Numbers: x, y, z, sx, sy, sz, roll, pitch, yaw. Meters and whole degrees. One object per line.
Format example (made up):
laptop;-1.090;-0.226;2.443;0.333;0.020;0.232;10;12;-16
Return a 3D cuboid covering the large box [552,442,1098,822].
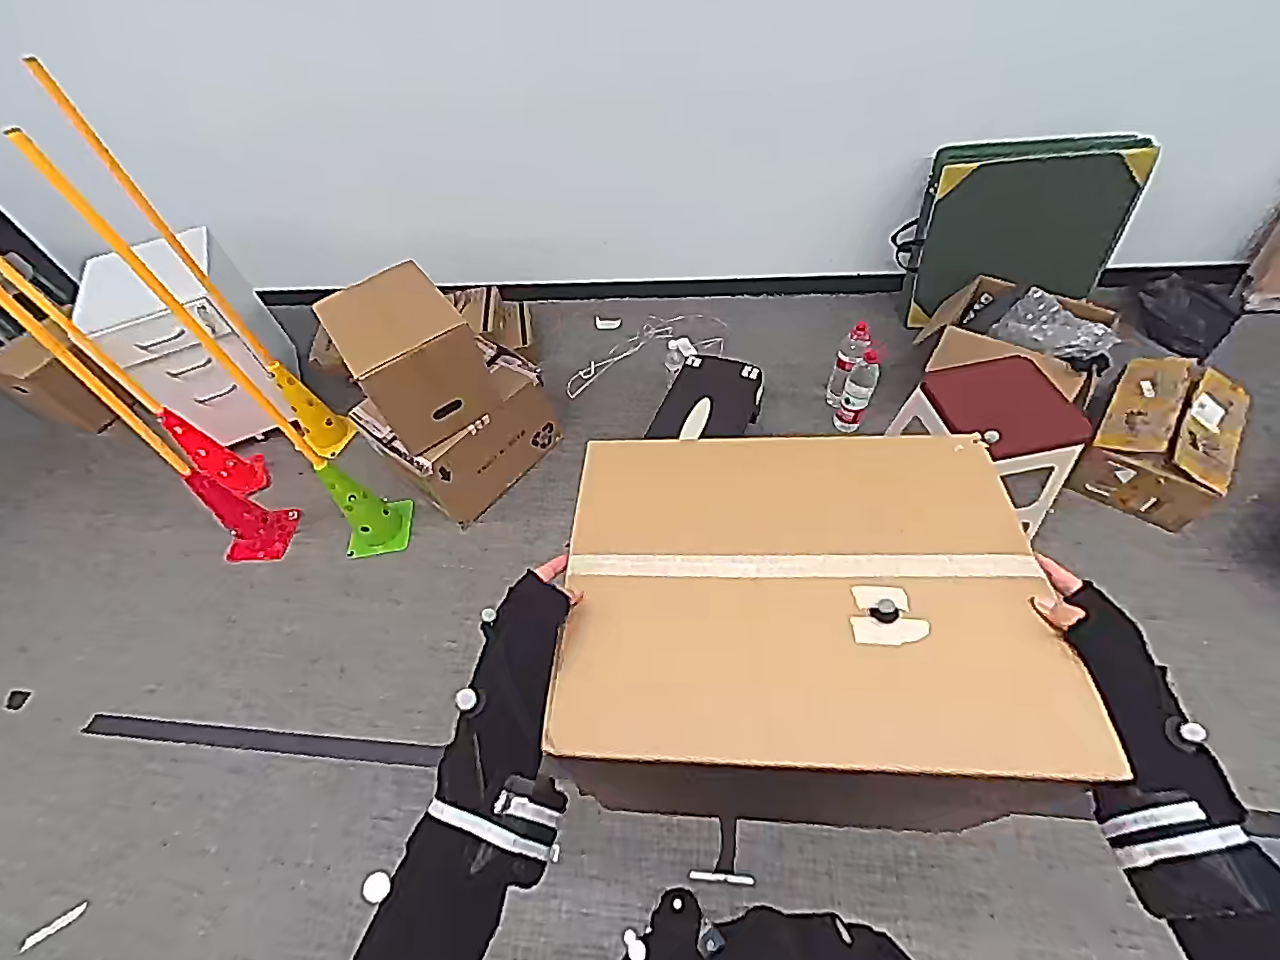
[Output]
large box;0.146;0.176;0.605;0.408;0.320;0.320;-1;51;6
